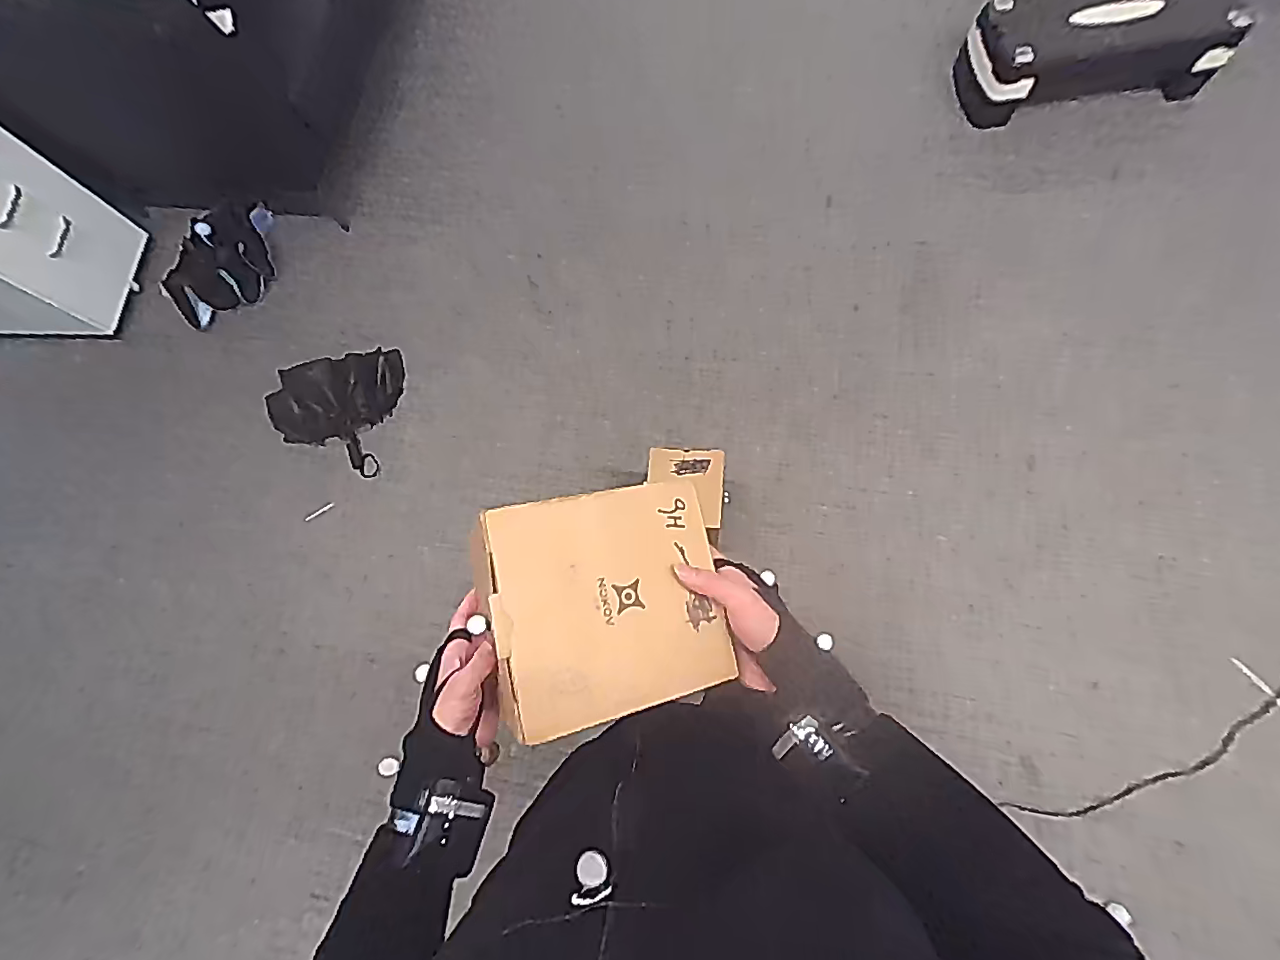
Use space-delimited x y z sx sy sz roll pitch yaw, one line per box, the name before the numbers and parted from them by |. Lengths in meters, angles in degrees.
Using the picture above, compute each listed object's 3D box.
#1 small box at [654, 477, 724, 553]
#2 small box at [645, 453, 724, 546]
small box | 0.130 0.088 1.408 0.168 0.176 0.179 2 76 9
small box | 0.107 0.049 1.250 0.168 0.176 0.179 2 75 9
